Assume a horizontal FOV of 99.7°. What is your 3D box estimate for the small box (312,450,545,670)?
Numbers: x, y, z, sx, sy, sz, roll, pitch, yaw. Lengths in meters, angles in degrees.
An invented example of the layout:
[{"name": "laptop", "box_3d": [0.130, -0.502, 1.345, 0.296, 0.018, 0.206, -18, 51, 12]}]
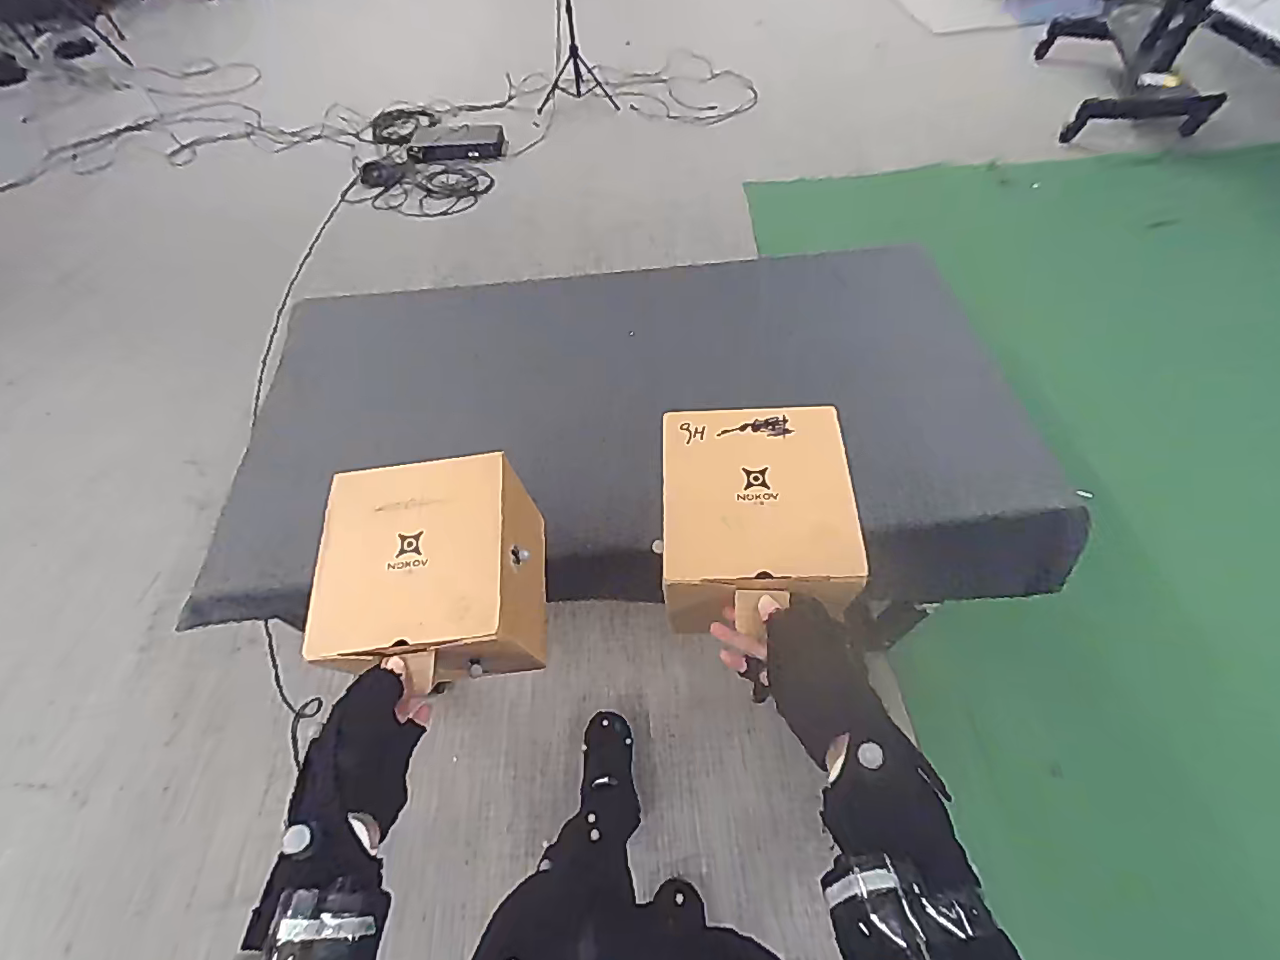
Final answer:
[{"name": "small box", "box_3d": [-0.198, 0.093, 0.560, 0.168, 0.176, 0.179, -8, 62, 1]}]
